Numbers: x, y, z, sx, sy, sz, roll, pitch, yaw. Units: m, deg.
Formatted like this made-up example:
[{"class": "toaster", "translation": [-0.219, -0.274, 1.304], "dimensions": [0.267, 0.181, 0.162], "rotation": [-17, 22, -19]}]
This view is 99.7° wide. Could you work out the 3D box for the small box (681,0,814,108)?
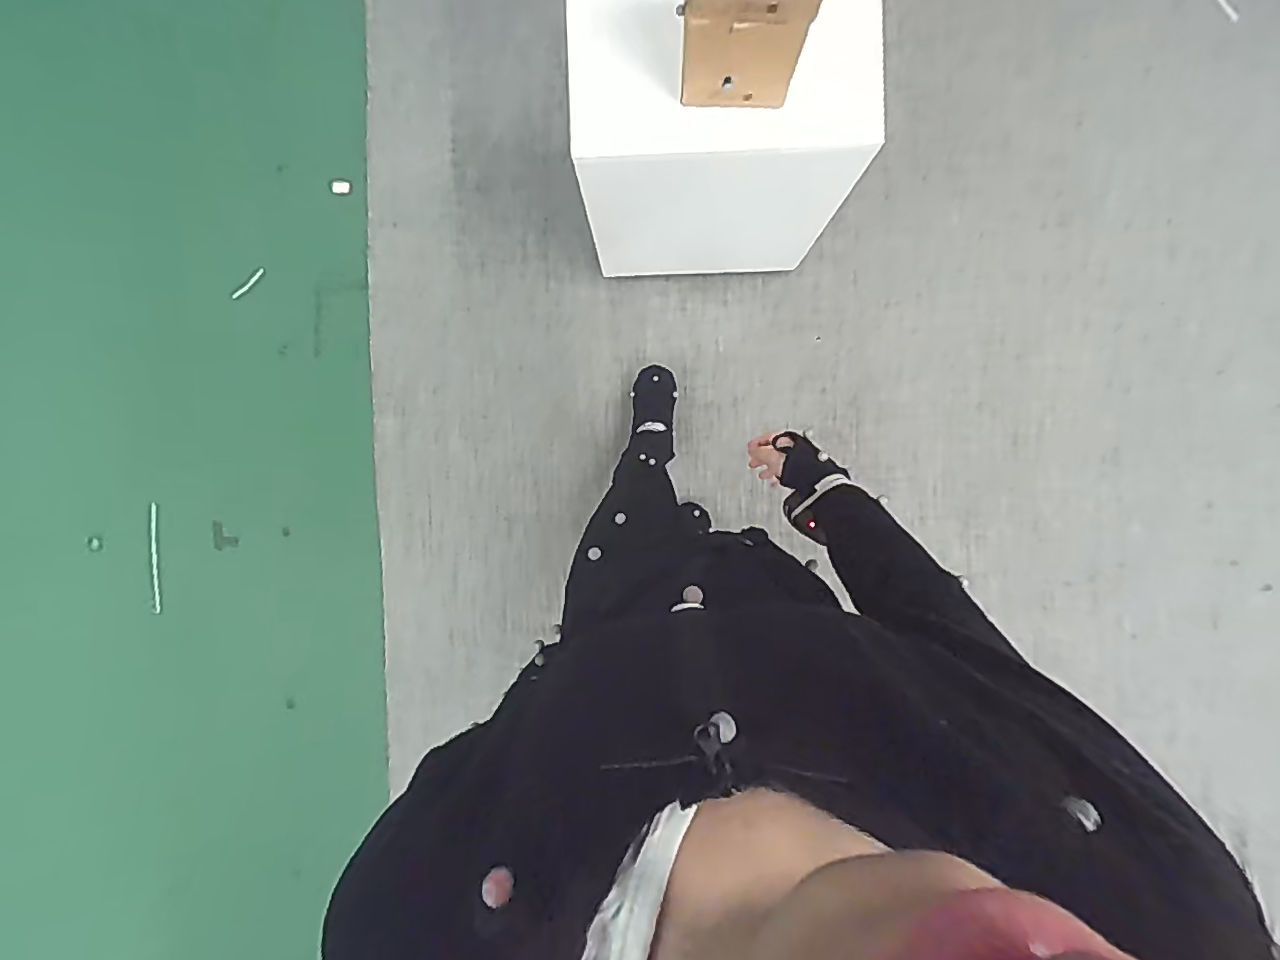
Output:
[{"class": "small box", "translation": [0.147, -0.682, 0.779], "dimensions": [0.168, 0.176, 0.179], "rotation": [2, 90, 2]}]
